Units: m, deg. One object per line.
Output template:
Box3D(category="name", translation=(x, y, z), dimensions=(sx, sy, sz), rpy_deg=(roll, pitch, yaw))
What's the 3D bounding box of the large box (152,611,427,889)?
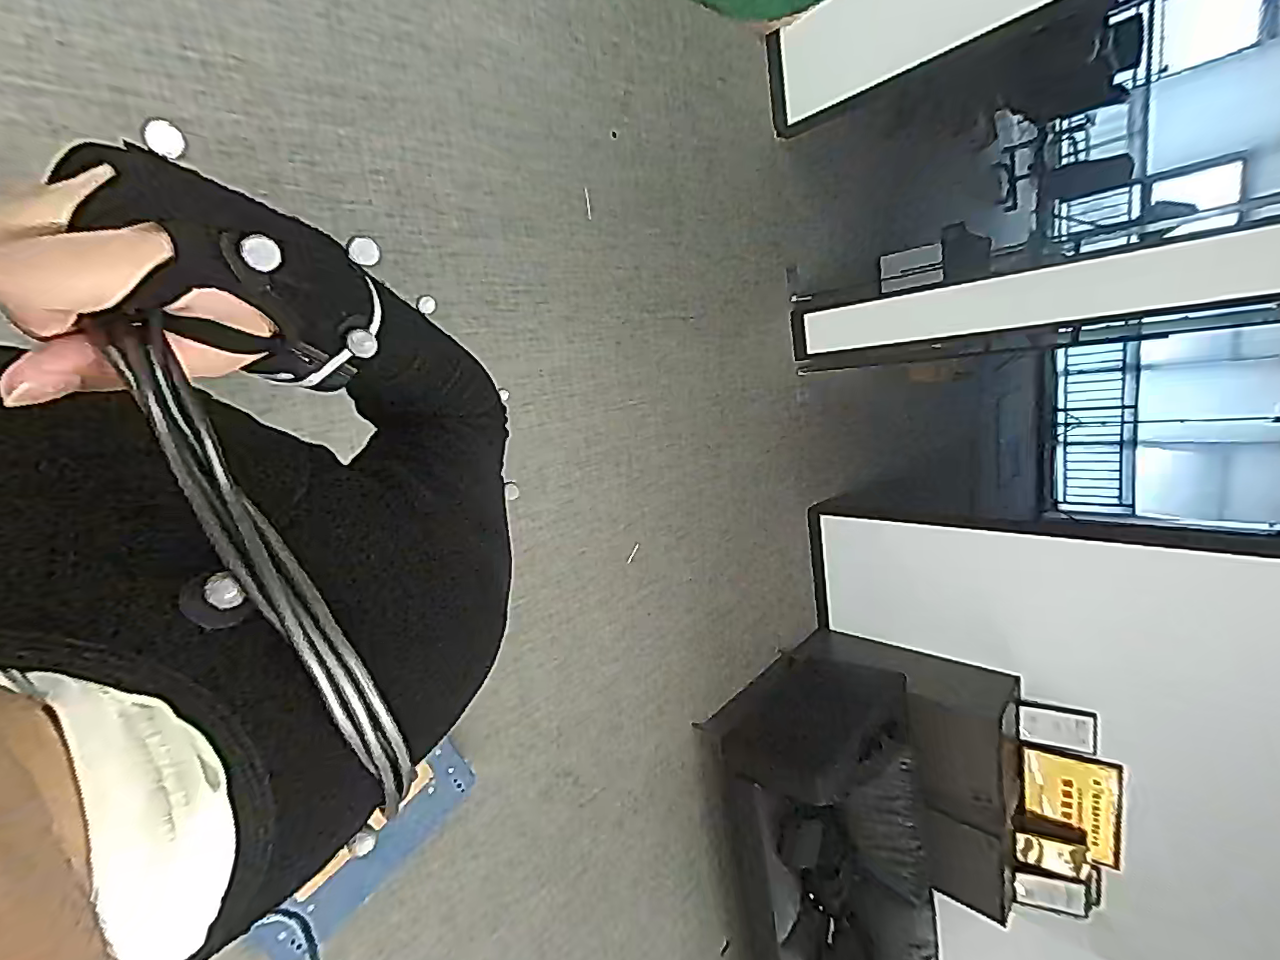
Box3D(category="large box", translation=(-0.758, 0.563, 1.191), dimensions=(0.320, 0.320, 0.408), rpy_deg=(-38, 119, -37))
